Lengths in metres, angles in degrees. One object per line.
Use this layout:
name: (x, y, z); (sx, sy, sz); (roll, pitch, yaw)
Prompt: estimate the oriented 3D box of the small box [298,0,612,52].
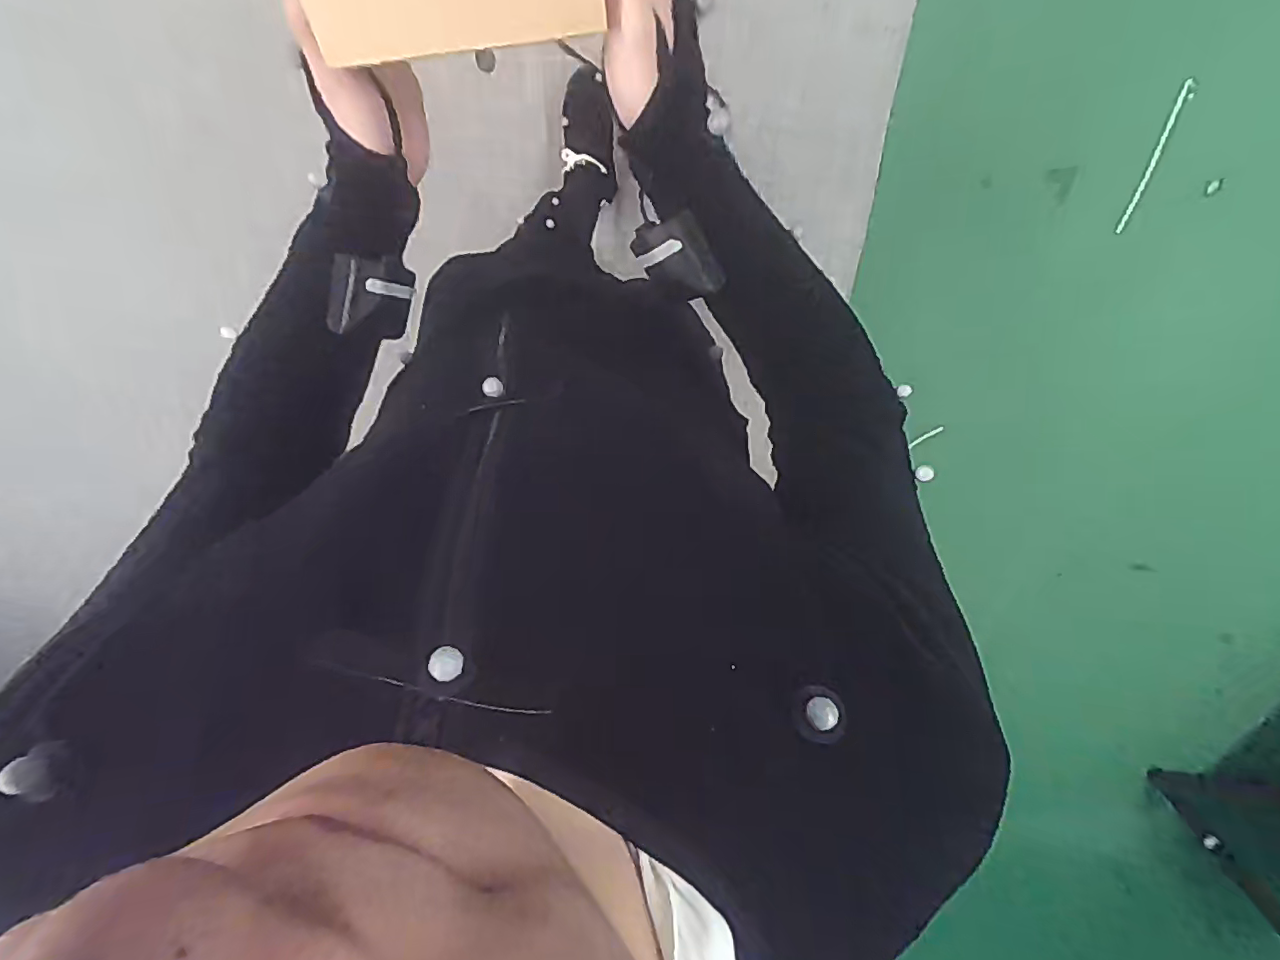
small box: (-0.108, -0.365, 0.305); (0.168, 0.176, 0.179); (-3, 132, 4)
